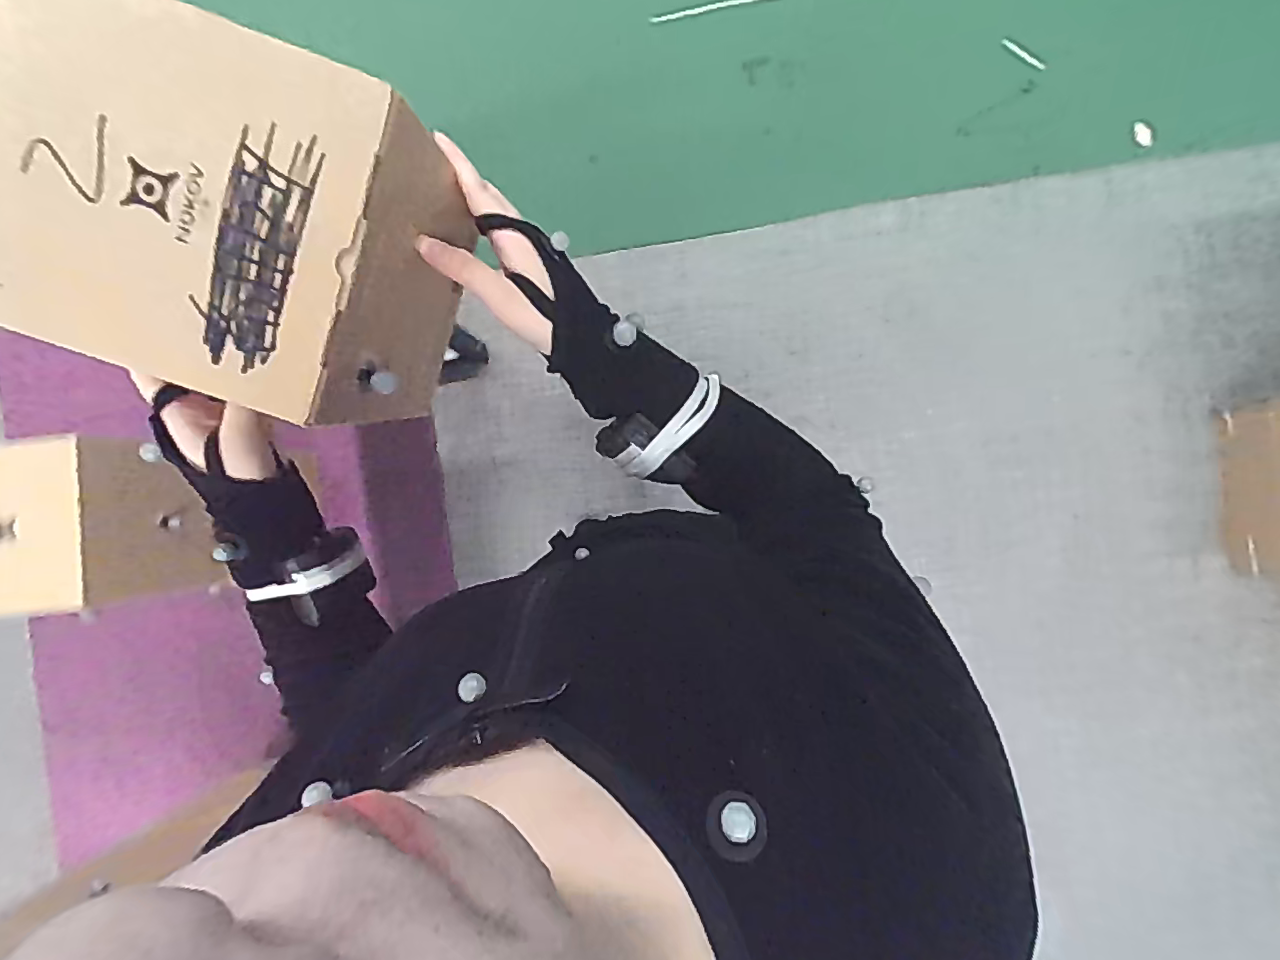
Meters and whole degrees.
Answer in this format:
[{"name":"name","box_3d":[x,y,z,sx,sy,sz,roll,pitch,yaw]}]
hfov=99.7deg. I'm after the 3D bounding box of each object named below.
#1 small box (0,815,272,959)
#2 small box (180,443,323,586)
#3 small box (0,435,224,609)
[{"name":"small box","box_3d":[-0.532,0.489,0.582,0.179,0.176,0.168,-7,87,7]},{"name":"small box","box_3d":[-0.582,0.050,0.767,0.168,0.176,0.179,-7,87,6]},{"name":"small box","box_3d":[-0.607,0.045,0.604,0.179,0.176,0.168,-5,87,6]}]
